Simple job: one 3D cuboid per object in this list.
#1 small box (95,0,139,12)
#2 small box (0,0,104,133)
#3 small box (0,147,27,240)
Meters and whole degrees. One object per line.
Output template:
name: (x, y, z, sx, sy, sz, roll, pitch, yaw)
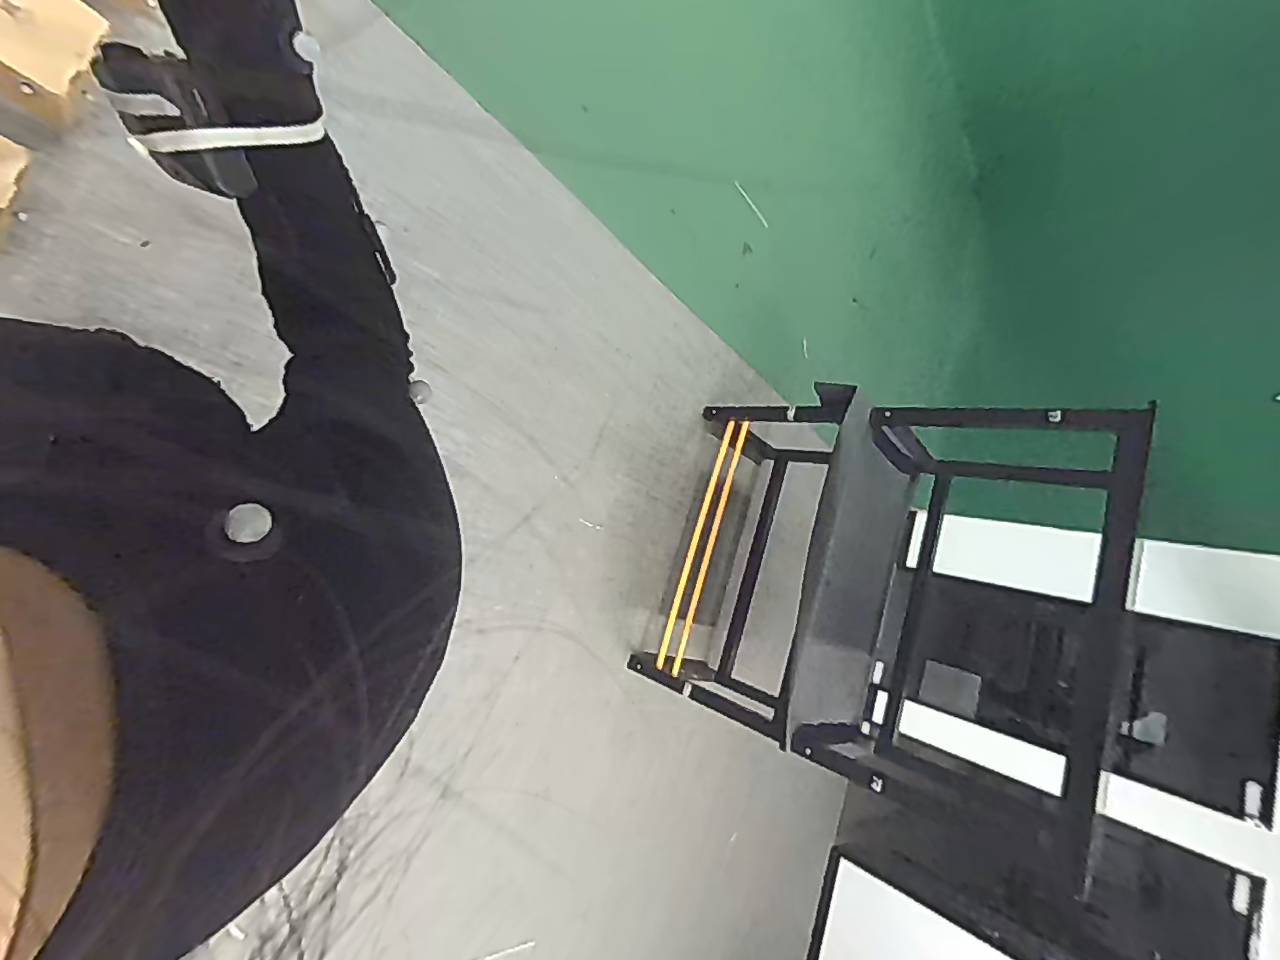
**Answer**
small box: (-0.962, -0.974, 0.939, 0.179, 0.176, 0.168, 25, 77, -44)
small box: (-1.040, -0.722, 0.890, 0.179, 0.176, 0.168, 30, 74, -44)
small box: (-1.115, -0.469, 0.839, 0.179, 0.176, 0.168, 27, 76, -45)
